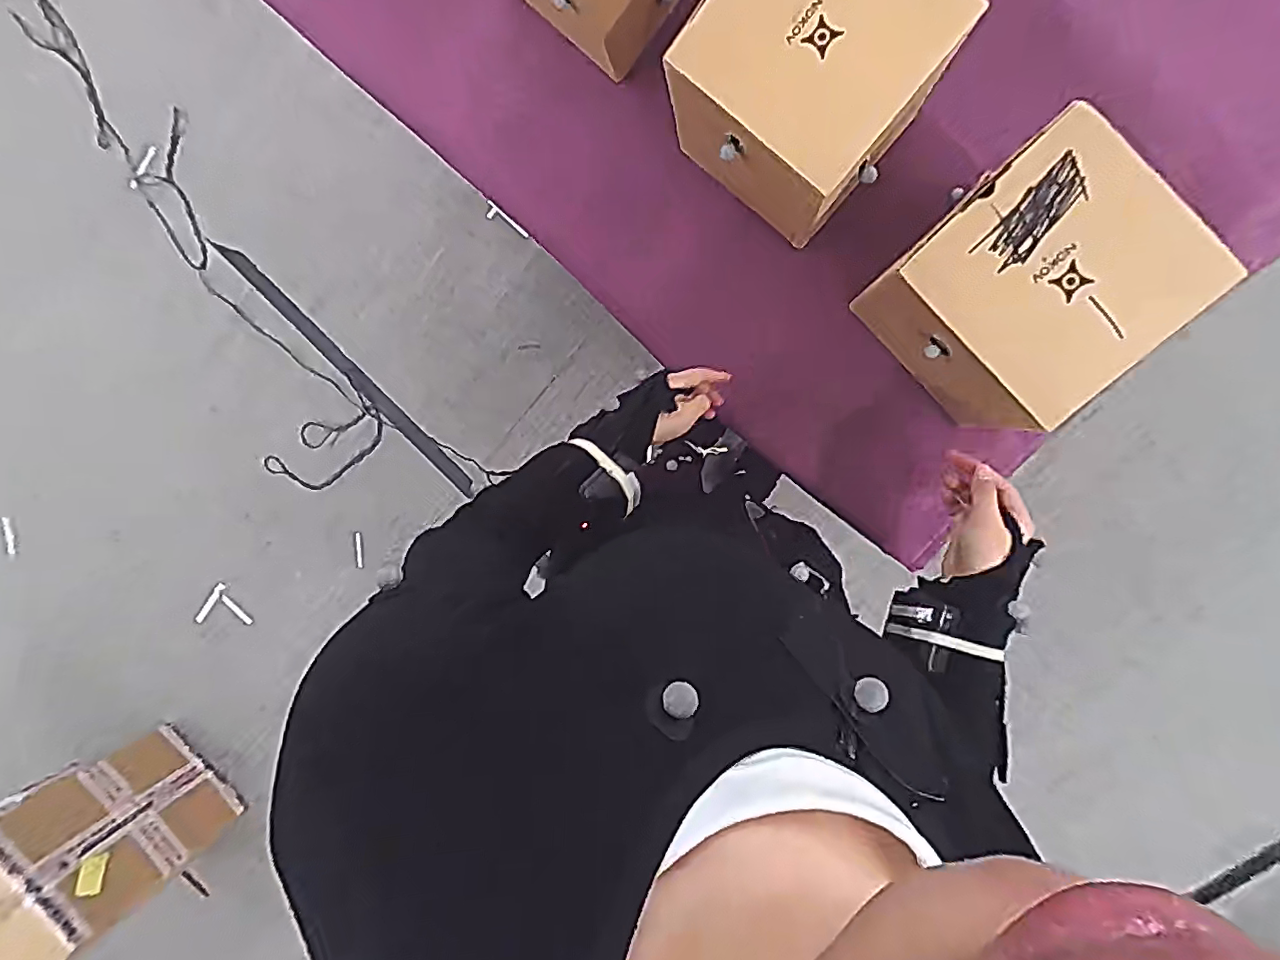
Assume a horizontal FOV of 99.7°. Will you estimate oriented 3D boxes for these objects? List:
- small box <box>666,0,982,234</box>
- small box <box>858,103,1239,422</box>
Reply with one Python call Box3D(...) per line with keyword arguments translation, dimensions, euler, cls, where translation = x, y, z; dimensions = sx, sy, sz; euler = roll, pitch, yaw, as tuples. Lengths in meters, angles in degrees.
Box3D(translation=(0.150, -0.352, 0.490), dimensions=(0.179, 0.176, 0.168), euler=(42, 103, 2), cls="small box")
Box3D(translation=(0.327, -0.168, 0.482), dimensions=(0.168, 0.176, 0.179), euler=(-43, 90, 12), cls="small box")
